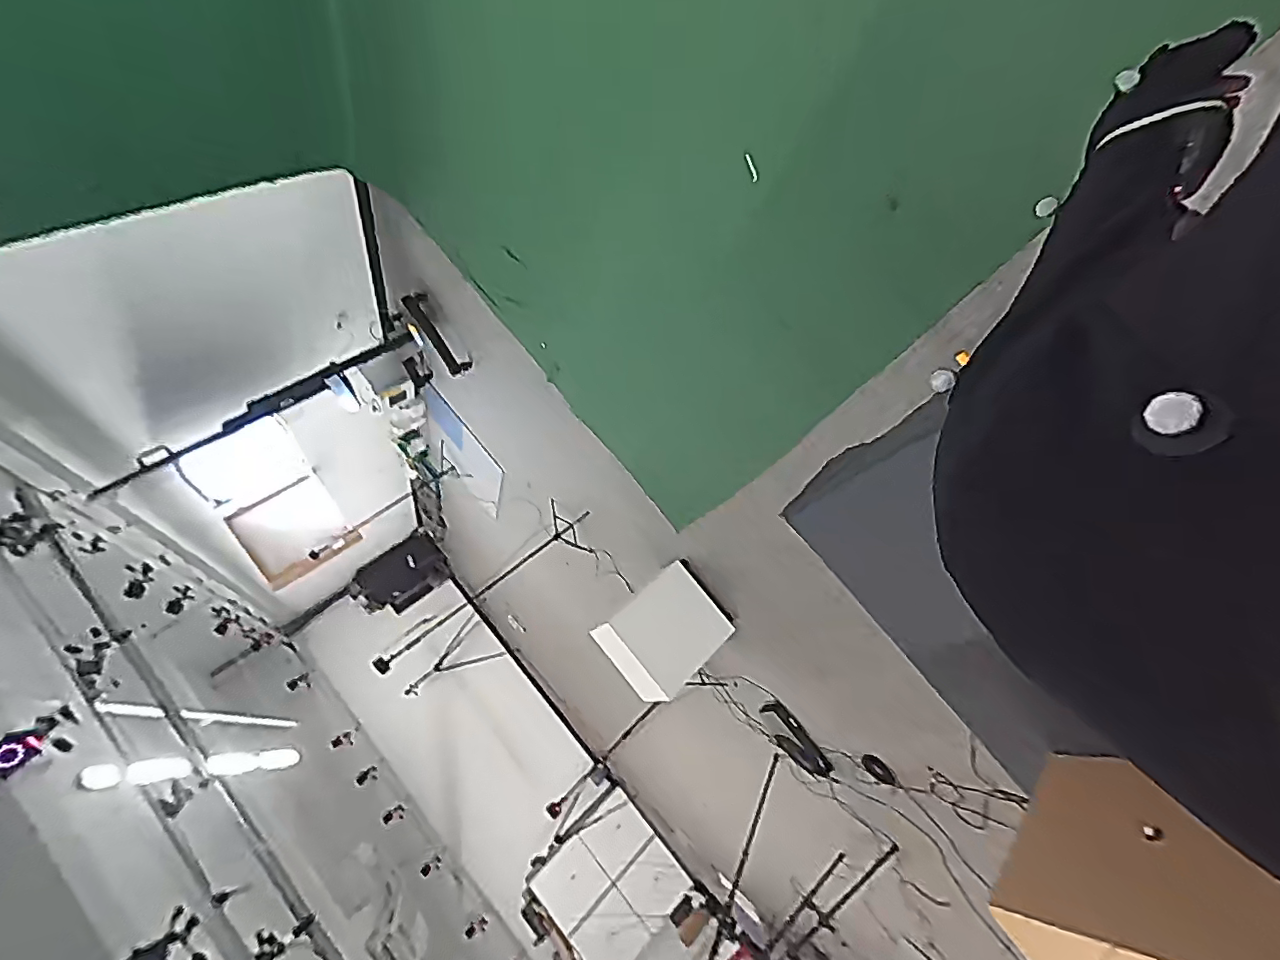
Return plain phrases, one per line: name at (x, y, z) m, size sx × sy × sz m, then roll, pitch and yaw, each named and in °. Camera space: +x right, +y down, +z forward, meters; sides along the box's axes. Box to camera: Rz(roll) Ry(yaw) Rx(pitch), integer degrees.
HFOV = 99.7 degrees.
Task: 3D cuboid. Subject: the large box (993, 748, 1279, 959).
large box at (0.795, 0.591, 0.711) m, size 0.320 × 0.320 × 0.408 m, roll 49°, pitch 150°, yaw 7°
